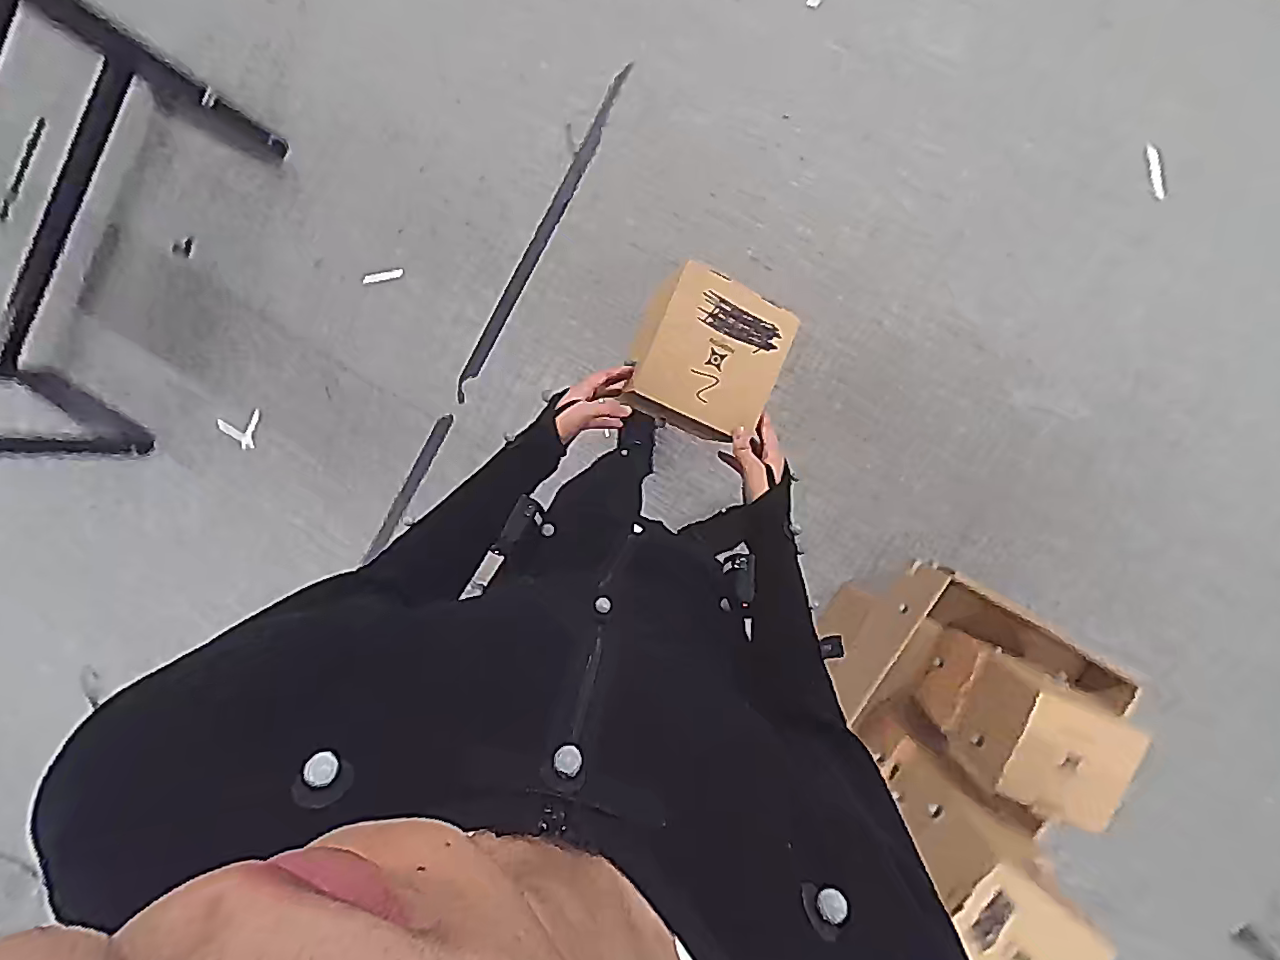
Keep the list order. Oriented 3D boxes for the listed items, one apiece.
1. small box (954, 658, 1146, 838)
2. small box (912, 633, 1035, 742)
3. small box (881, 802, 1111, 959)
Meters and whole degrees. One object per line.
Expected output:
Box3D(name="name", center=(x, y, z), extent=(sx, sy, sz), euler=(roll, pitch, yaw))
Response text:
Box3D(name="small box", center=(0.657, 0.430, 0.897), extent=(0.168, 0.176, 0.179), euler=(22, 96, 6))
Box3D(name="small box", center=(0.674, 0.424, 1.060), extent=(0.179, 0.176, 0.168), euler=(23, 95, 7))
Box3D(name="small box", center=(0.478, 0.598, 0.761), extent=(0.179, 0.176, 0.168), euler=(38, 94, 5))
